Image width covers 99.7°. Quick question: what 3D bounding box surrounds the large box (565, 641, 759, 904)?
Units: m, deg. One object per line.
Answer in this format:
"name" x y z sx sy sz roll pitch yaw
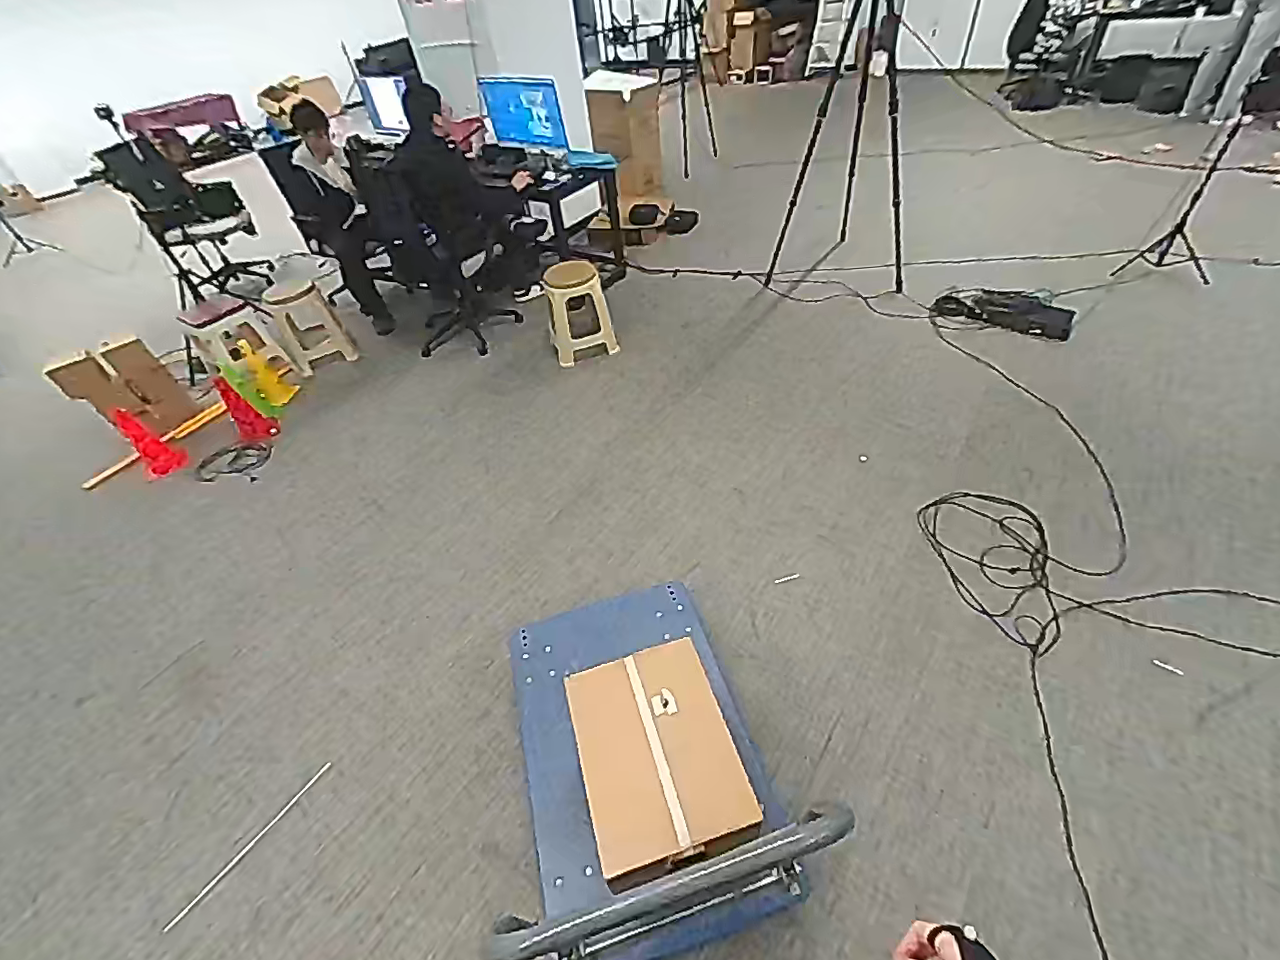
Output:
"large box" 0.044 0.662 1.248 0.320 0.320 0.408 -15 44 -8
